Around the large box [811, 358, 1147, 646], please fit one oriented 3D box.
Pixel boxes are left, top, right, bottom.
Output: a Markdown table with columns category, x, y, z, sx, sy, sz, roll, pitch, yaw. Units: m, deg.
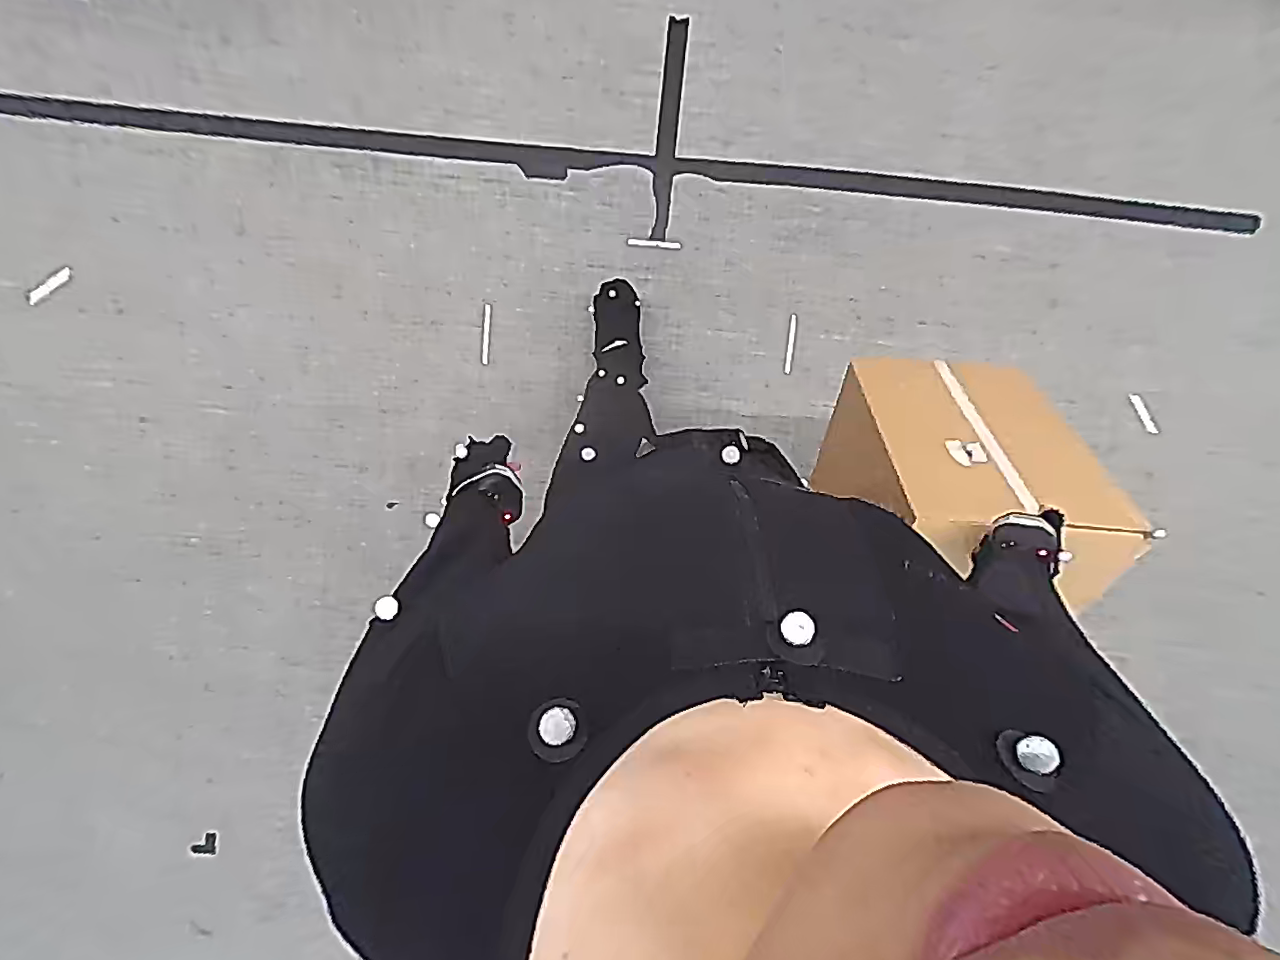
| category | x | y | z | sx | sy | sz | roll | pitch | yaw |
| --- | --- | --- | --- | --- | --- | --- | --- | --- | --- |
| large box | 0.524 | 0.031 | 0.959 | 0.320 | 0.408 | 0.320 | 3 | 135 | 2 |
